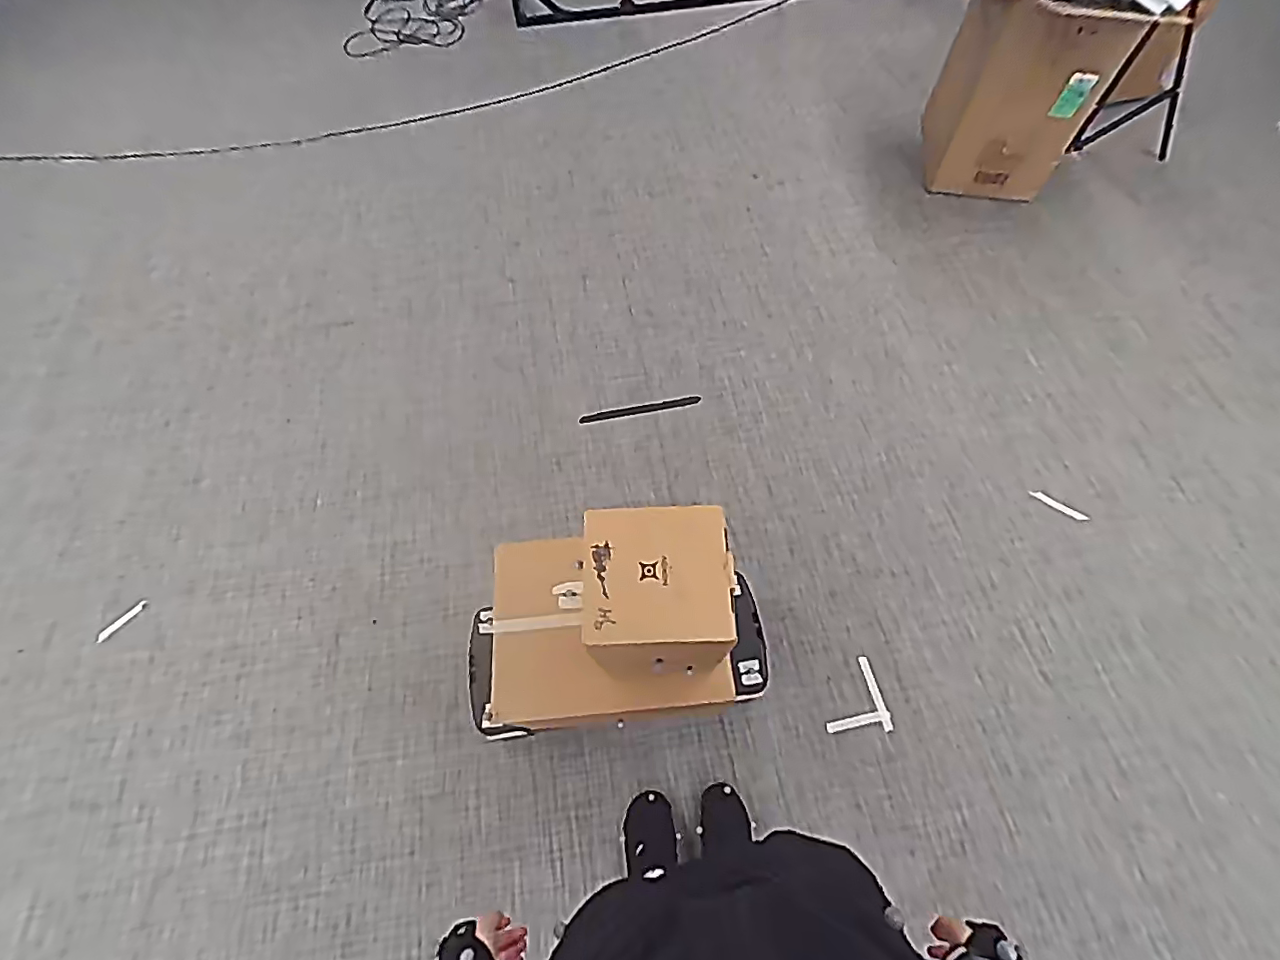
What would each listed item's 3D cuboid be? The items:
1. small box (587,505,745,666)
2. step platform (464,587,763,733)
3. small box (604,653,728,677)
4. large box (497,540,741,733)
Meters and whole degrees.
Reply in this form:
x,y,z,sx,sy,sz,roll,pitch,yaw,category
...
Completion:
x,y,z,sx,sy,sz,roll,pitch,yaw,category
0.028,0.140,0.696,0.179,0.176,0.168,-2,62,0,small box
-0.058,0.424,1.281,0.684,0.204,0.286,-4,63,1,step platform
0.034,0.209,0.845,0.179,0.176,0.168,-4,63,1,small box
-0.040,0.310,1.071,0.408,0.320,0.320,-6,62,0,large box
